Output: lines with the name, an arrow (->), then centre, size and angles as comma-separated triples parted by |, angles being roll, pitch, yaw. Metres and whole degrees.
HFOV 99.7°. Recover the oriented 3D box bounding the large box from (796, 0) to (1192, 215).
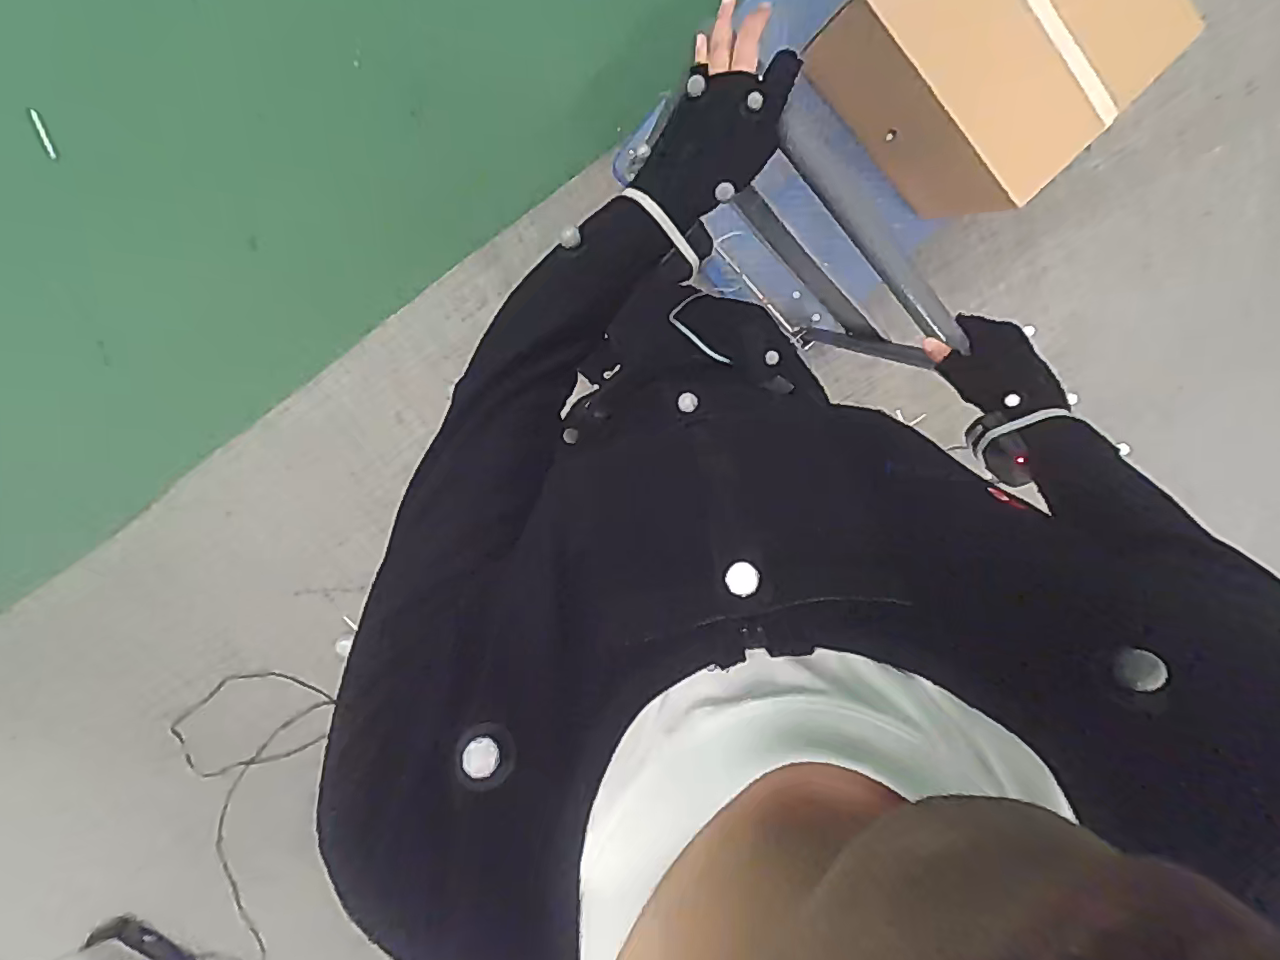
large box -> 0.537, -0.711, 0.895 | 0.408, 0.320, 0.320 | 40, 106, -16
